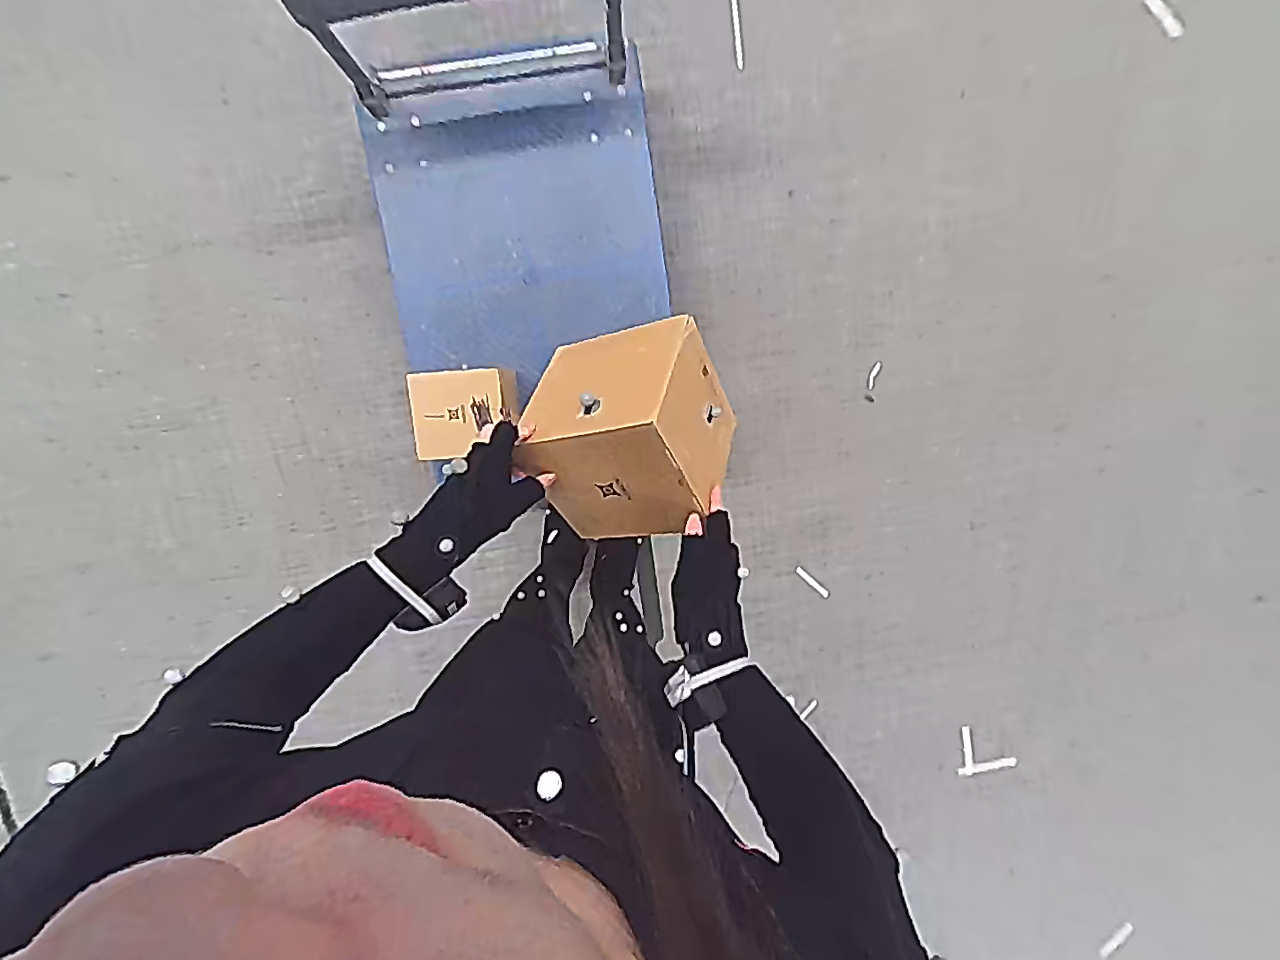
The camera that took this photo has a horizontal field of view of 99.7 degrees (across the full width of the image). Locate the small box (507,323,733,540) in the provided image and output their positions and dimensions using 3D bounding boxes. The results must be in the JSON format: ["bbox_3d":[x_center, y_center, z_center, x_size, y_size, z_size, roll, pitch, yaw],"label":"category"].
[{"bbox_3d":[-0.009,-0.049,0.610,0.179,0.176,0.168,-6,138,28],"label":"small box"}]

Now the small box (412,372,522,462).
[{"bbox_3d":[-0.341,-0.133,1.109,0.179,0.176,0.168,-4,99,-1],"label":"small box"}]
